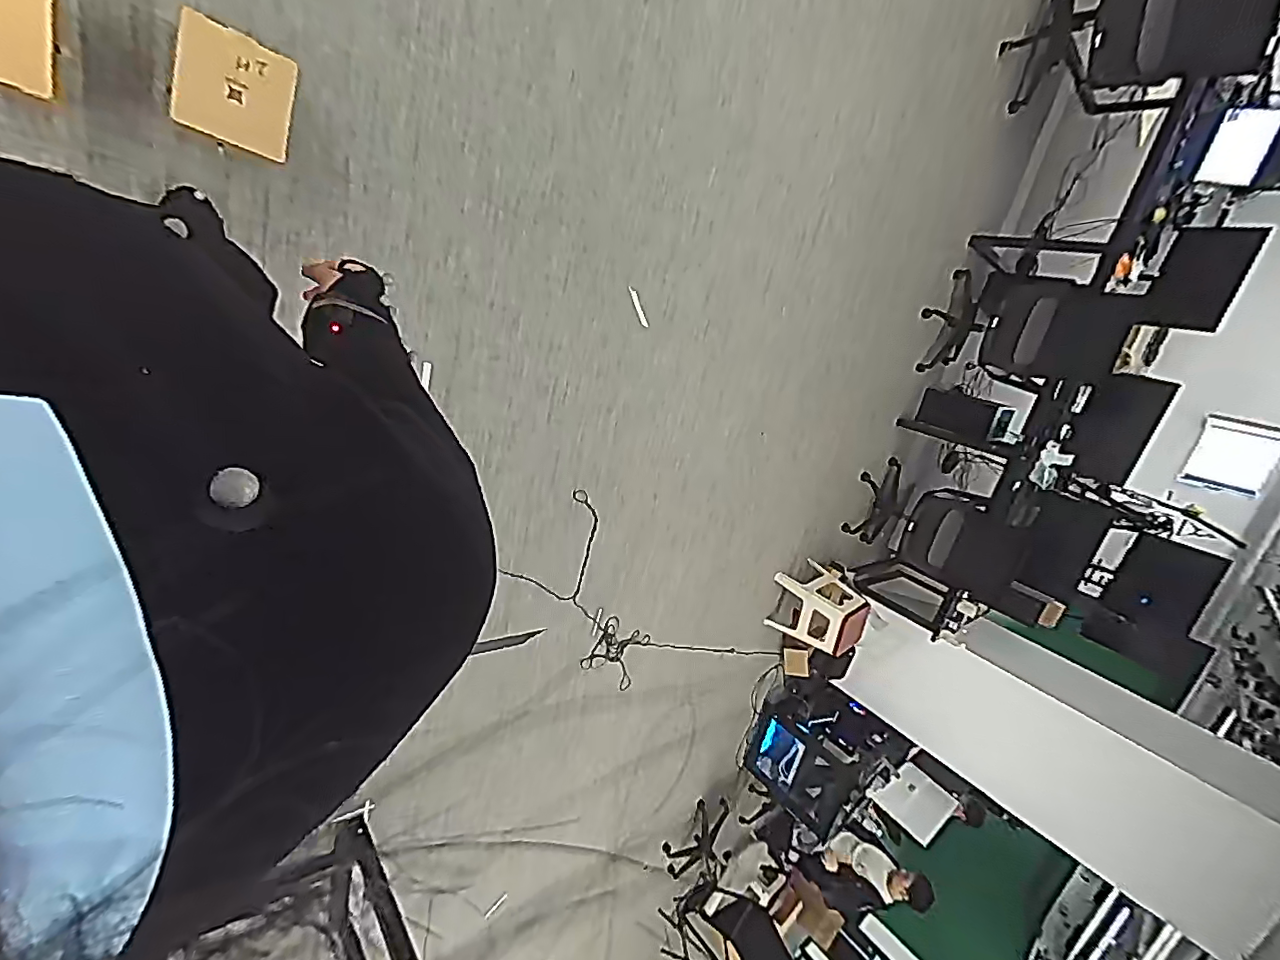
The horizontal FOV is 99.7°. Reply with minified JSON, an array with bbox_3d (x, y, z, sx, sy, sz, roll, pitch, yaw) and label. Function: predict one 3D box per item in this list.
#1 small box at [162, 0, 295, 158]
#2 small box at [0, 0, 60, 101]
[{"bbox_3d":[-0.753,-0.714,0.987,0.168,0.176,0.179,5,108,-46],"label":"small box"},{"bbox_3d":[-0.977,-0.693,0.790,0.168,0.176,0.179,2,111,-44],"label":"small box"}]
